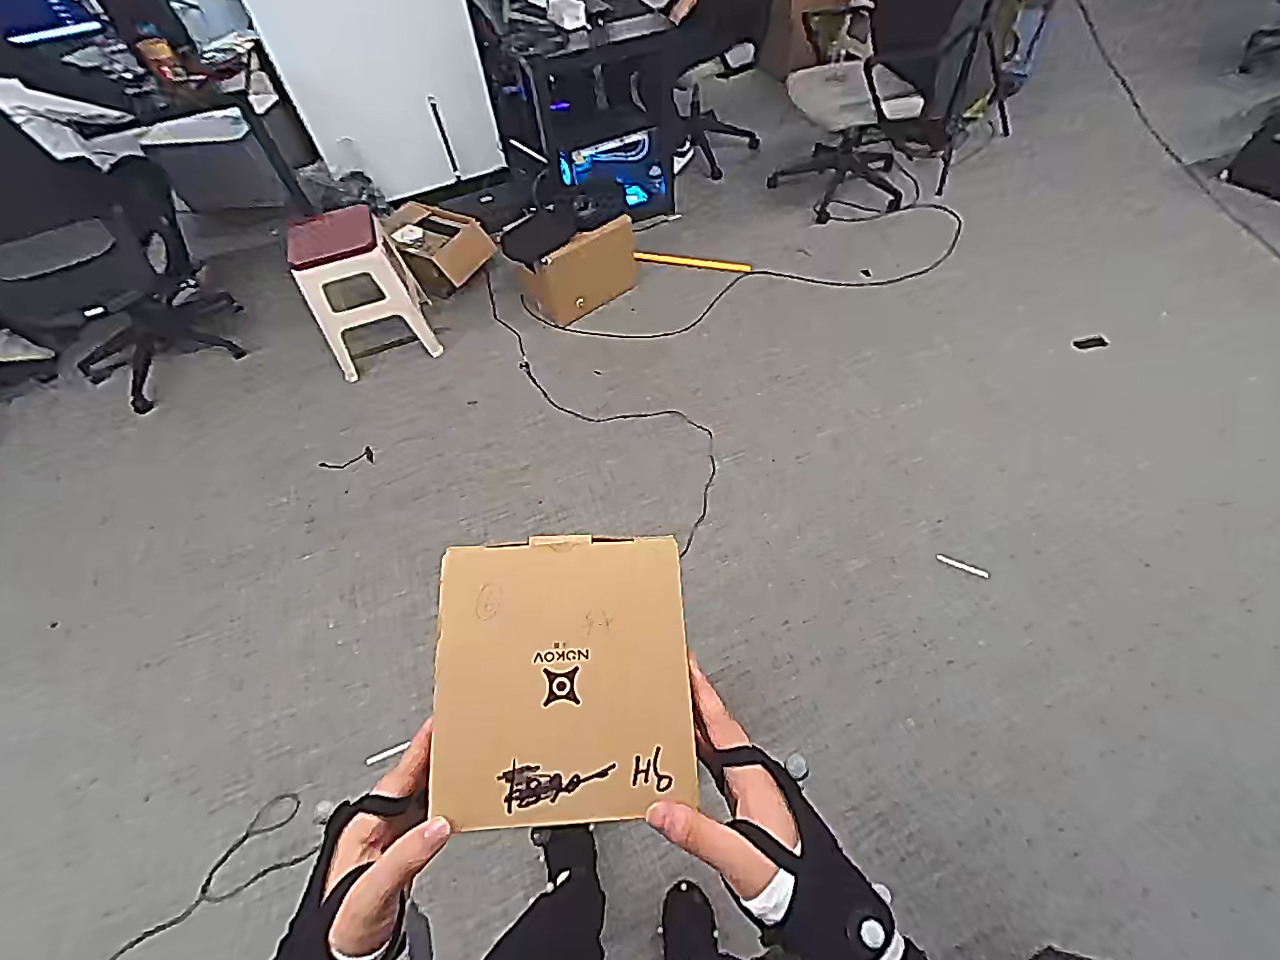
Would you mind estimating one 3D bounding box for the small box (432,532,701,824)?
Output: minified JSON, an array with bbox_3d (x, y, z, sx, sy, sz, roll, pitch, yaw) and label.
[{"bbox_3d":[-0.050,0.151,0.430,0.168,0.176,0.179,-3,69,-2],"label":"small box"}]
